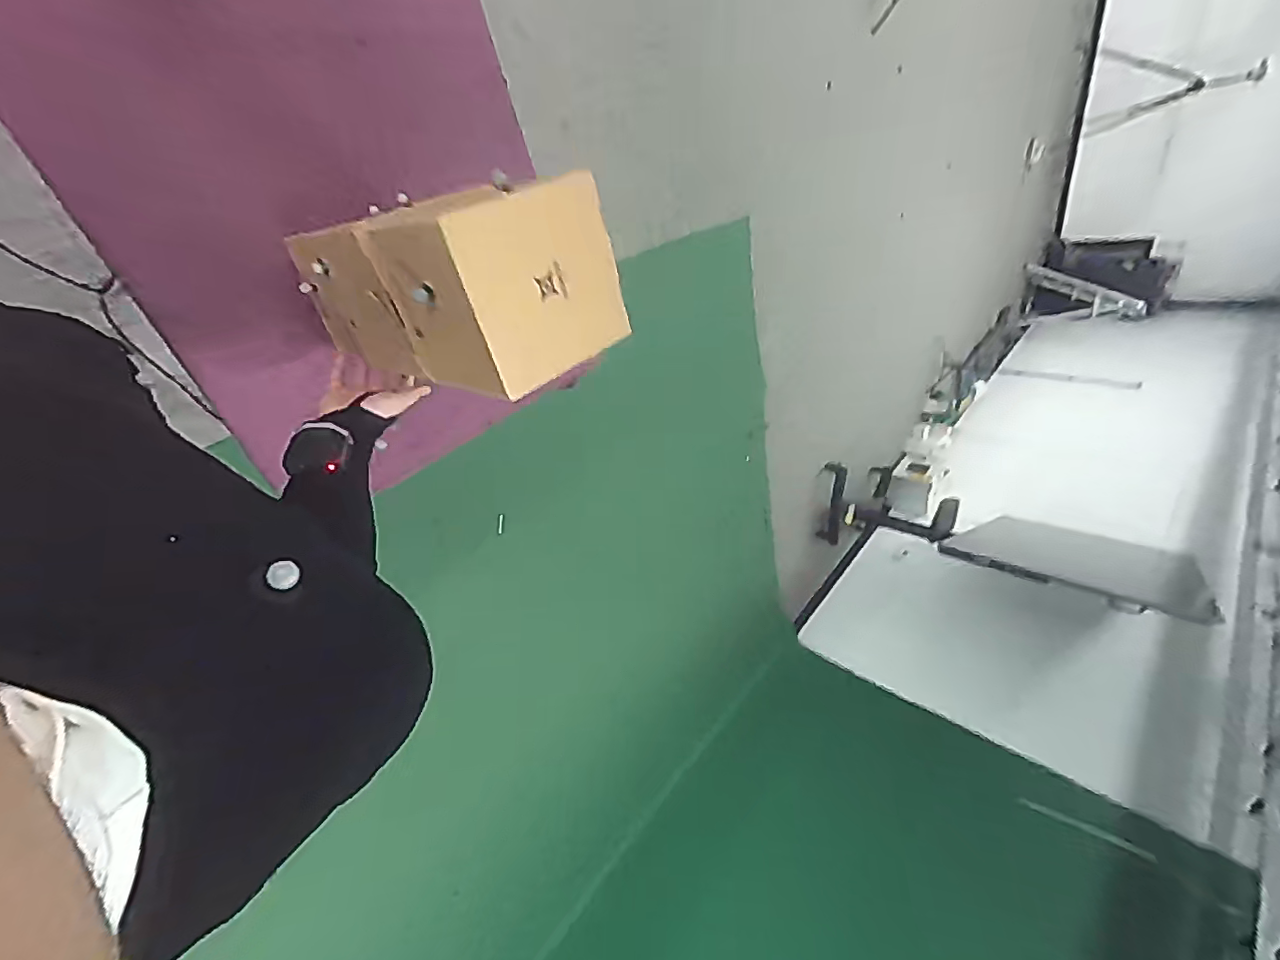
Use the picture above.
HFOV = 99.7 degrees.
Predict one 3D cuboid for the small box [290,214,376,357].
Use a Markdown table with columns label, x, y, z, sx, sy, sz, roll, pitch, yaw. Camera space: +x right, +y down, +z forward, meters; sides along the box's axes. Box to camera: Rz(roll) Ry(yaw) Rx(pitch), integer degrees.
| label | x | y | z | sx | sy | sz | roll | pitch | yaw |
| --- | --- | --- | --- | --- | --- | --- | --- | --- | --- |
| small box | -0.361 | -0.292 | 0.784 | 0.179 | 0.176 | 0.168 | -35 | 127 | -33 |

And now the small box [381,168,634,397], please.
| label | x | y | z | sx | sy | sz | roll | pitch | yaw |
| --- | --- | --- | --- | --- | --- | --- | --- | --- | --- |
| small box | -0.139 | -0.203 | 0.563 | 0.179 | 0.176 | 0.168 | -39 | 129 | -32 |

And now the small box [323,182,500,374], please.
| label | x | y | z | sx | sy | sz | roll | pitch | yaw |
| --- | --- | --- | --- | --- | --- | --- | --- | --- | --- |
| small box | -0.257 | -0.246 | 0.666 | 0.179 | 0.176 | 0.168 | -40 | 129 | -31 |
